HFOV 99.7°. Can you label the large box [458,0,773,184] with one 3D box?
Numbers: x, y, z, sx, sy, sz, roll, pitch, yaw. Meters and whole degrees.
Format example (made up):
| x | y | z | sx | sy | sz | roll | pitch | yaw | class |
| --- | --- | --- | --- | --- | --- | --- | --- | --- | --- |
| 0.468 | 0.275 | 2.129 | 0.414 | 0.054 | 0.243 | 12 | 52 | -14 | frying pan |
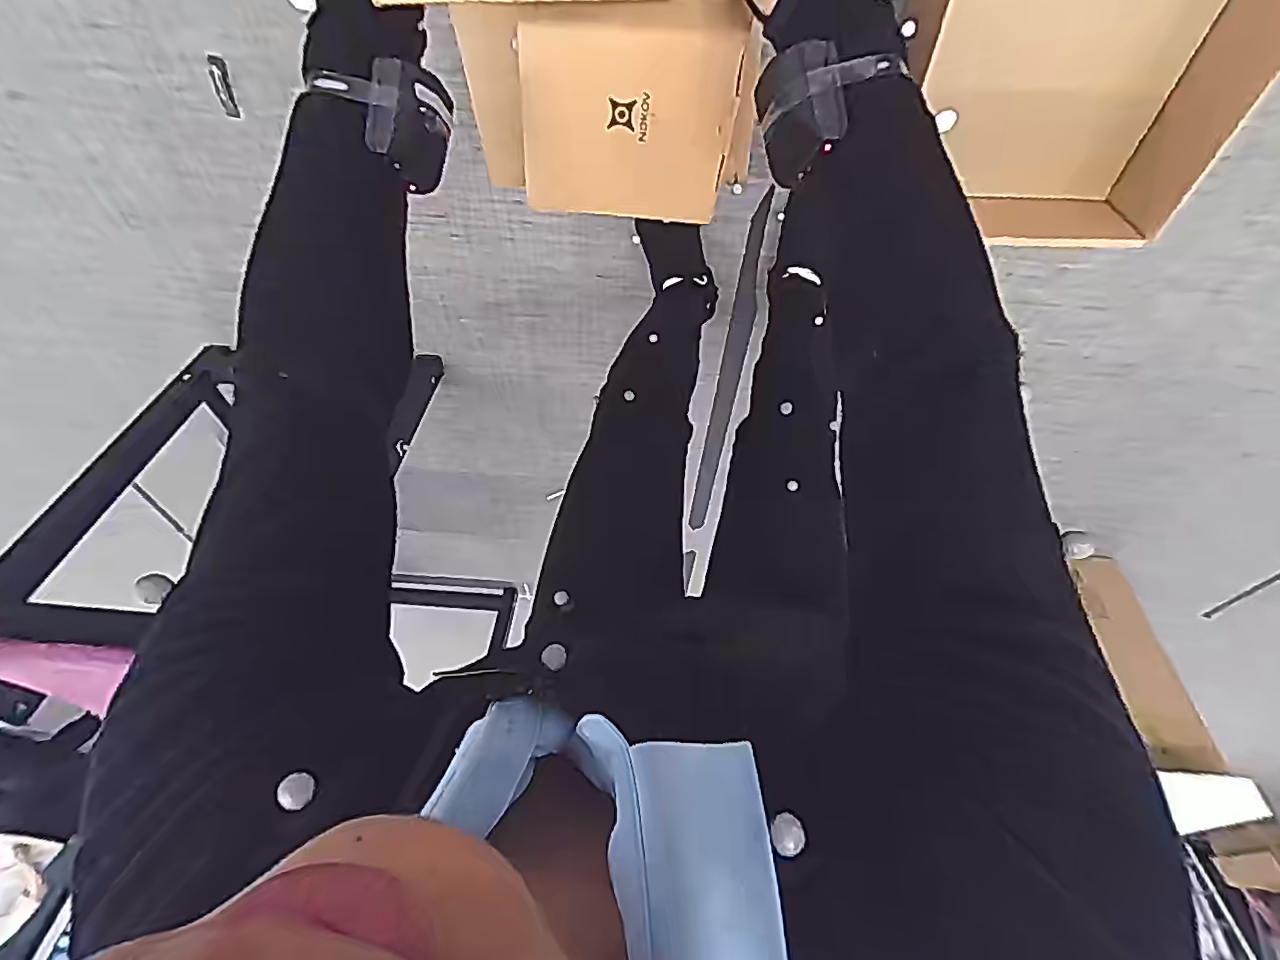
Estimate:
| x | y | z | sx | sy | sz | roll | pitch | yaw | class |
| --- | --- | --- | --- | --- | --- | --- | --- | --- | --- |
| -0.019 | -0.602 | 0.589 | 0.320 | 0.320 | 0.408 | 2 | 141 | 5 | large box |
